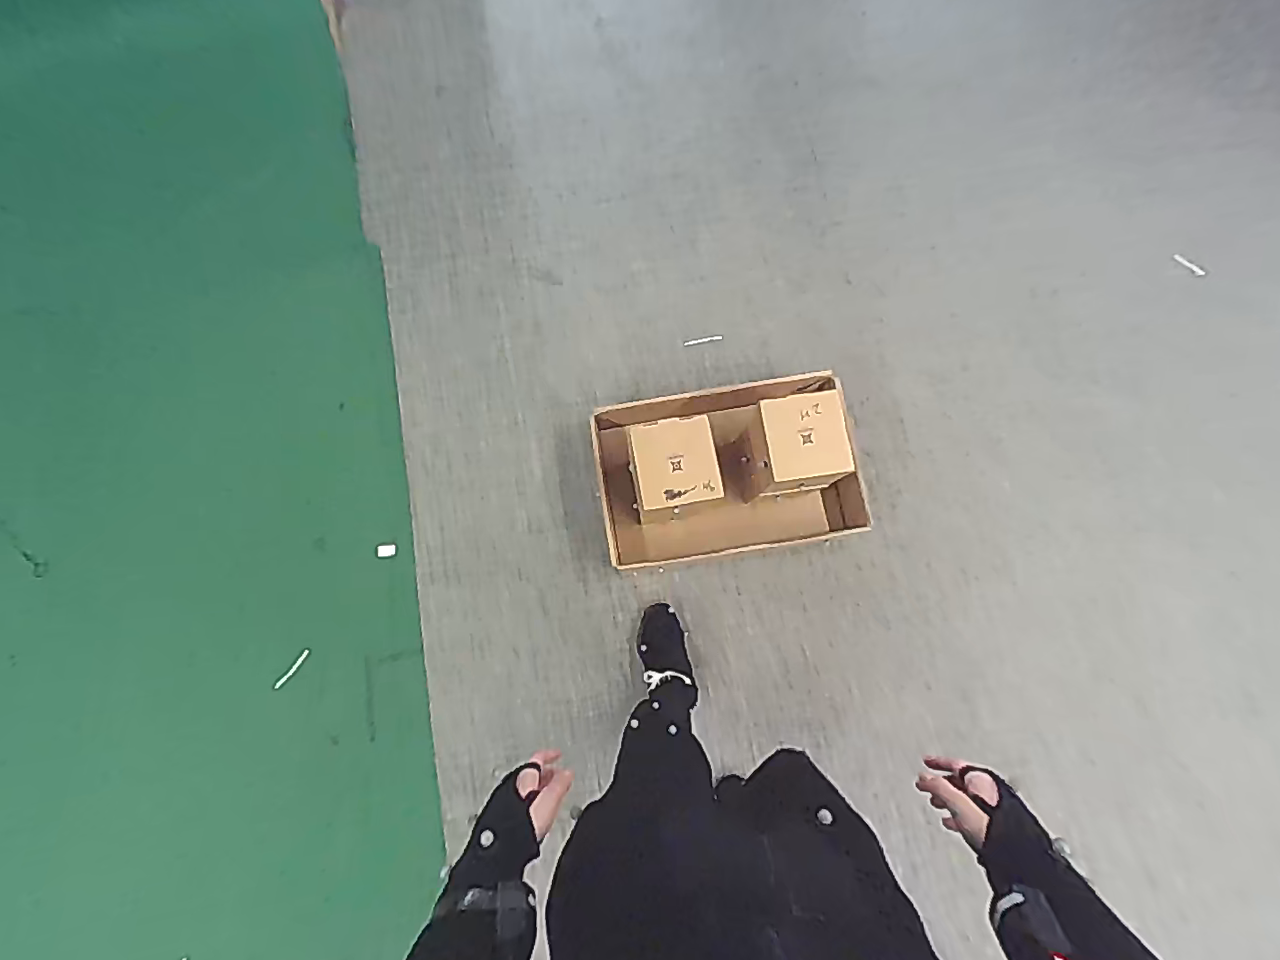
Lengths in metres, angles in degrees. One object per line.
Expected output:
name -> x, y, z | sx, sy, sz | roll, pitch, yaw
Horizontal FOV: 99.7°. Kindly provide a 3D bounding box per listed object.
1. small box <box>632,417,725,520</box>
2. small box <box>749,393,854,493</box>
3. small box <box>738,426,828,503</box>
small box -> 0.076, -0.019, 1.167 | 0.168, 0.176, 0.179 | -10, 80, -1
small box -> 0.342, -0.072, 1.174 | 0.168, 0.176, 0.179 | -8, 80, 0
small box -> 0.346, -0.040, 1.336 | 0.168, 0.176, 0.179 | -8, 80, 0
